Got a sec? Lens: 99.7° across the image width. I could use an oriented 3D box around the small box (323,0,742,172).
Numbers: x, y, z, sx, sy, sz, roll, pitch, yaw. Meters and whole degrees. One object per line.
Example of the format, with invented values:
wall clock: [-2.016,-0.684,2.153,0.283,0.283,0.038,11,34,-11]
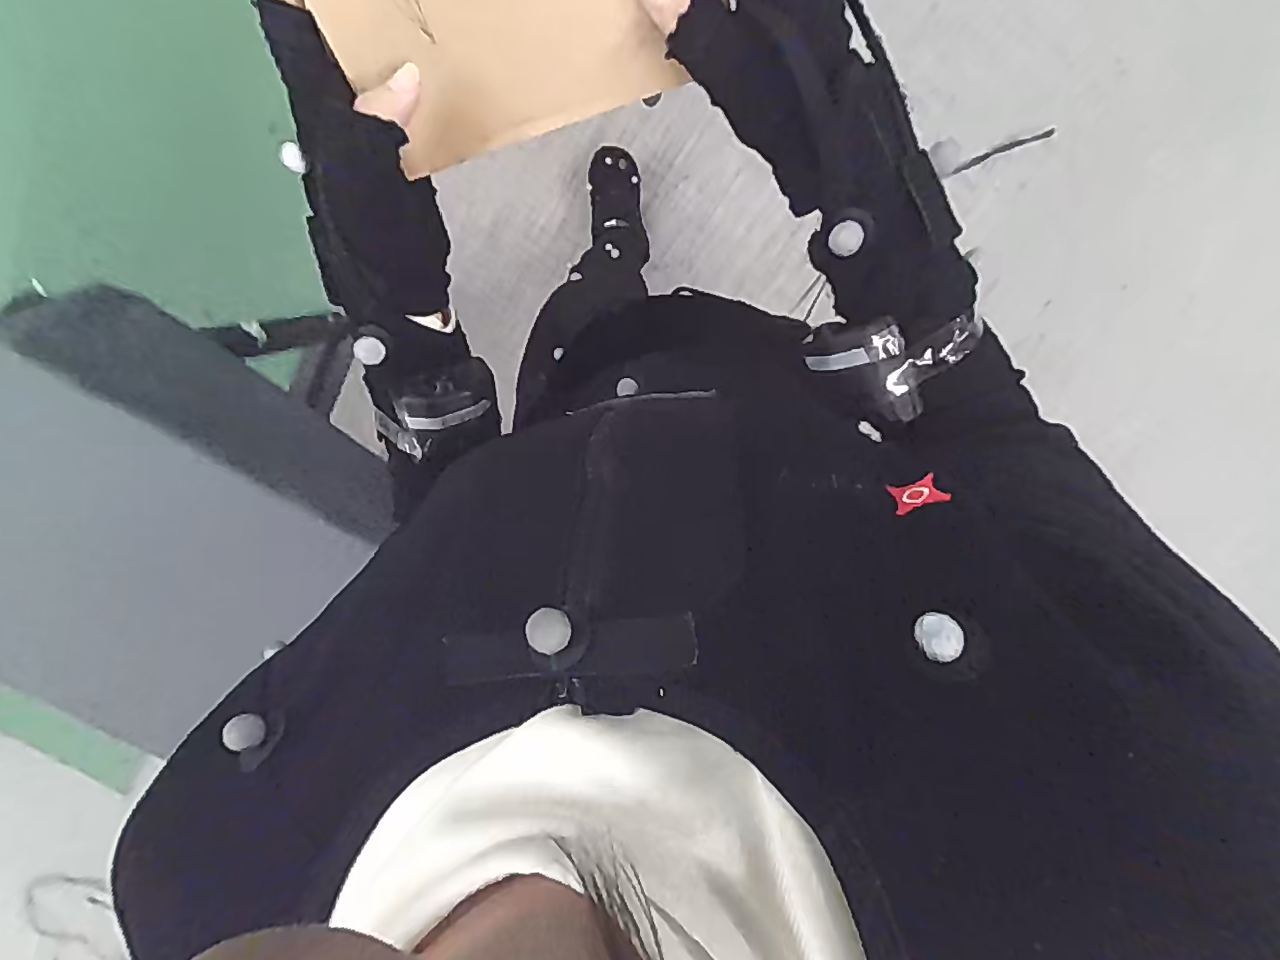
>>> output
small box: [-0.056,-0.288,0.268,0.179,0.176,0.168,-10,132,13]
